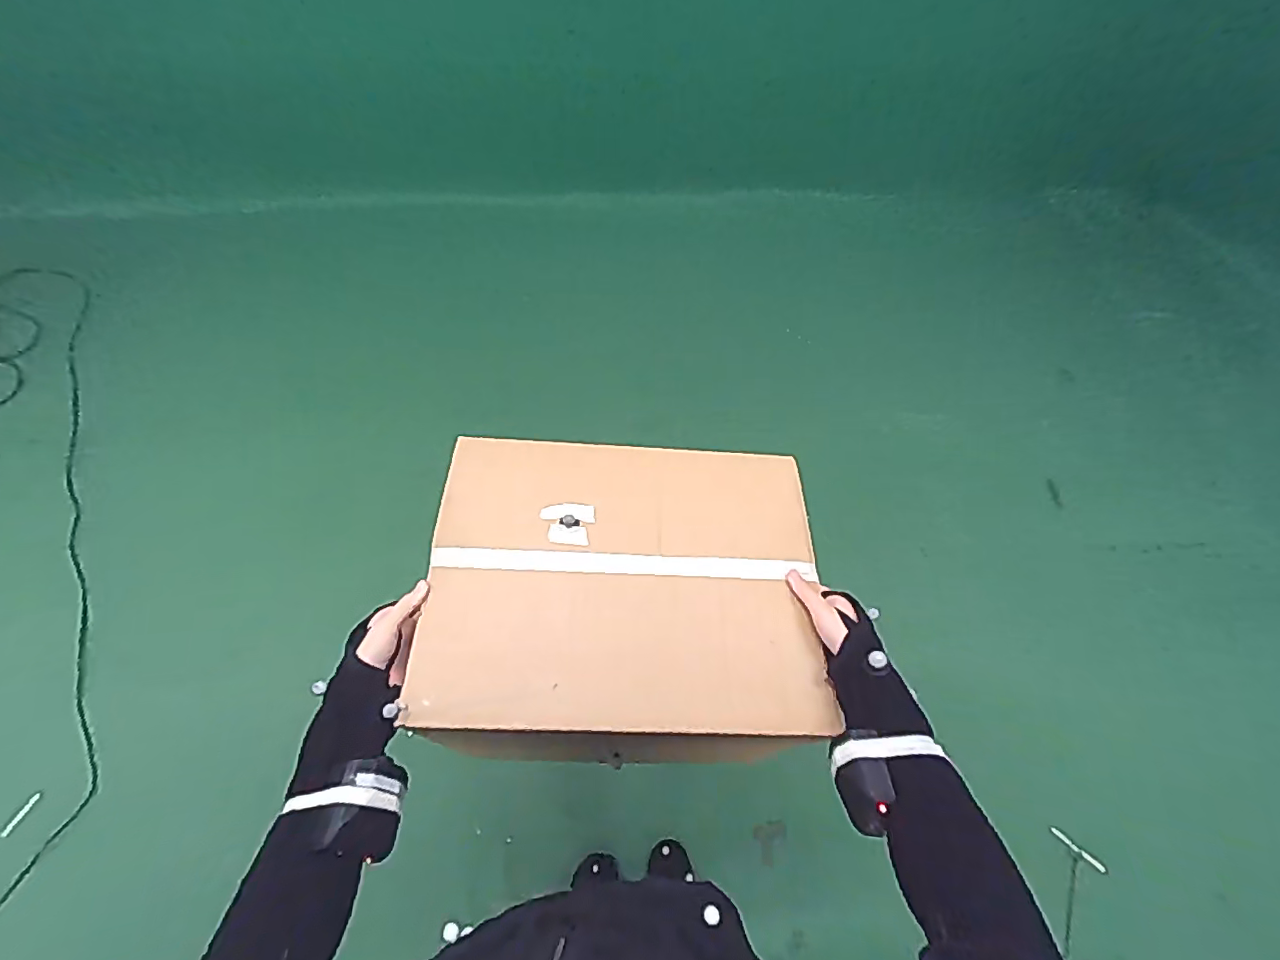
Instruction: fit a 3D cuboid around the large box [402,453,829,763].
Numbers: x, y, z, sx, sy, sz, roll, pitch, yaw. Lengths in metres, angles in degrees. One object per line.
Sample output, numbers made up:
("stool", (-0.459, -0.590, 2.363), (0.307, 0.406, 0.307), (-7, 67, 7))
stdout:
("large box", (-0.027, 0.184, 0.701), (0.408, 0.320, 0.320), (3, 57, -3))
